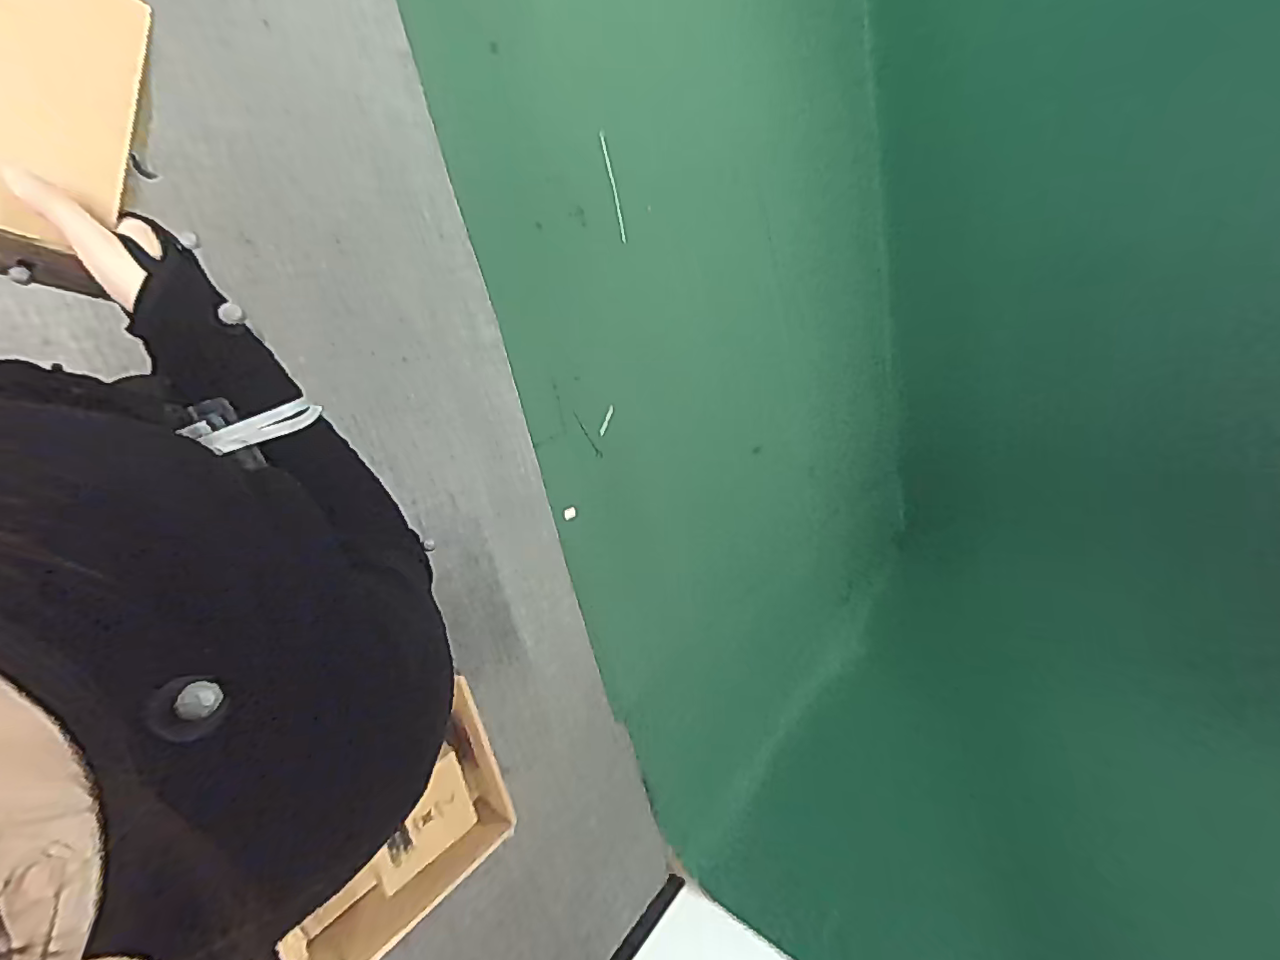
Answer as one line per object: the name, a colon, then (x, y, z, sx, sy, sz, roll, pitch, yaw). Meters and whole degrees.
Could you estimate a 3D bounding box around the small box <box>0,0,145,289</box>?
small box: (-0.453, -0.248, 0.358, 0.168, 0.176, 0.179, 12, 86, -43)
